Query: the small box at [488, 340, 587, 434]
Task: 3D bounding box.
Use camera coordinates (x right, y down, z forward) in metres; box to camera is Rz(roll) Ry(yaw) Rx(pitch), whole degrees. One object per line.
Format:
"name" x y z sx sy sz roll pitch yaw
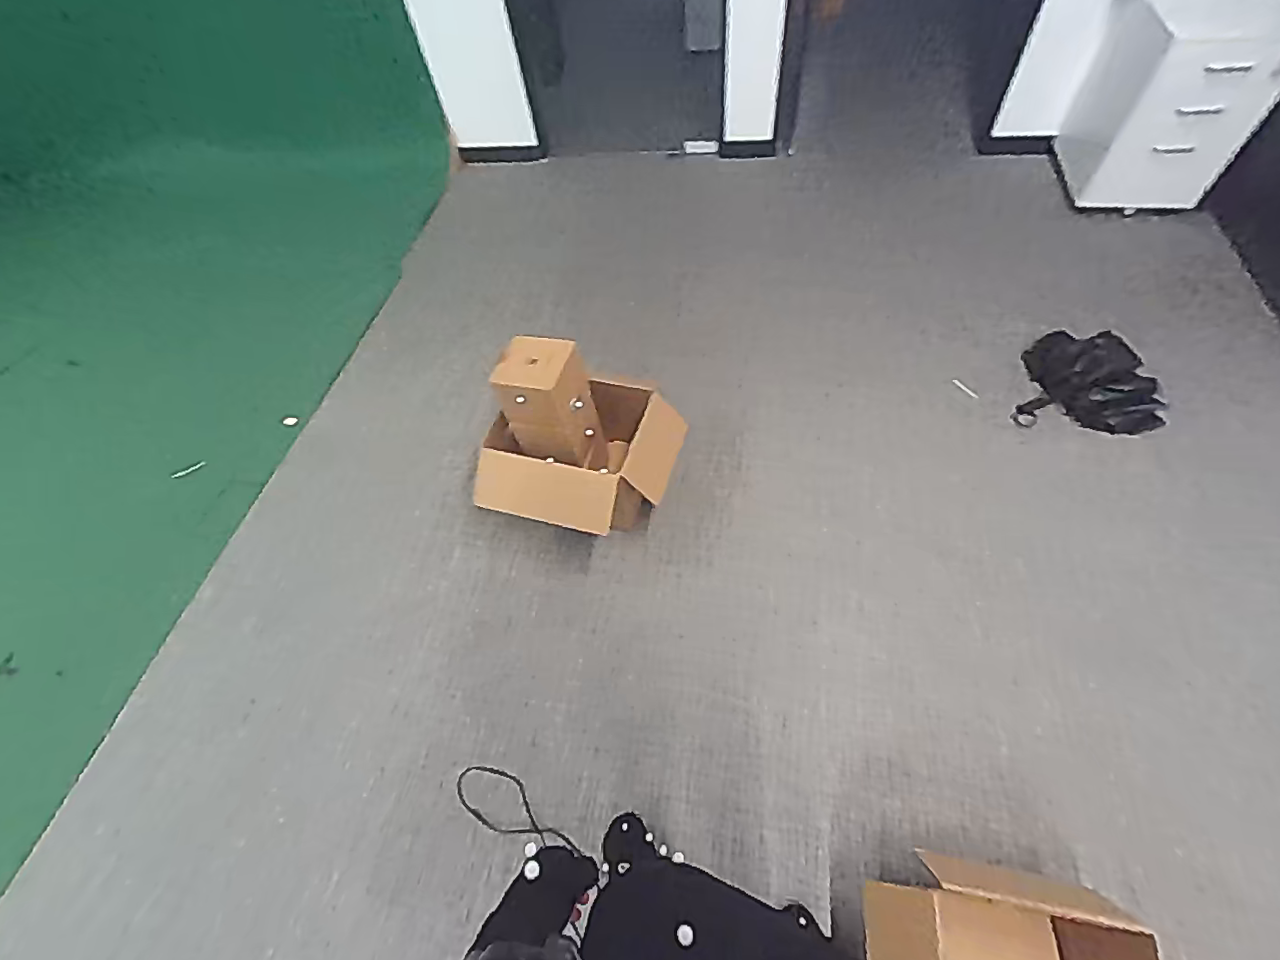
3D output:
"small box" -0.256 -0.237 1.397 0.179 0.176 0.168 10 60 15
